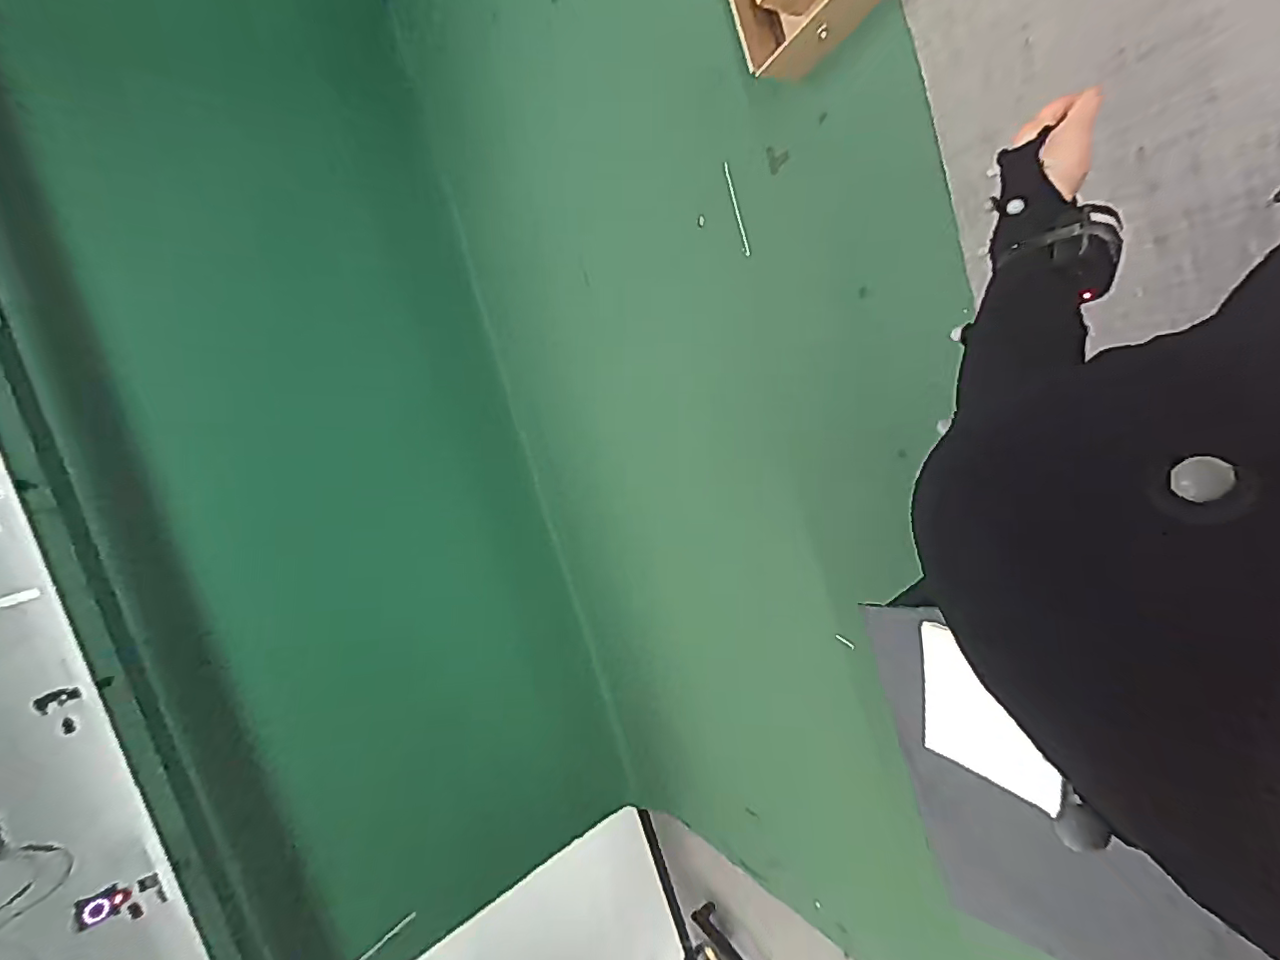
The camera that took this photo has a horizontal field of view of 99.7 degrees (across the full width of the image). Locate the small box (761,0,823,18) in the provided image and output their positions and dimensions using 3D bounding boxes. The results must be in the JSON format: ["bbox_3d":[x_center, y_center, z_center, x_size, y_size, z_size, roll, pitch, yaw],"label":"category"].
[{"bbox_3d":[0.403,-1.299,1.334,0.179,0.176,0.168,-10,96,57],"label":"small box"}]
